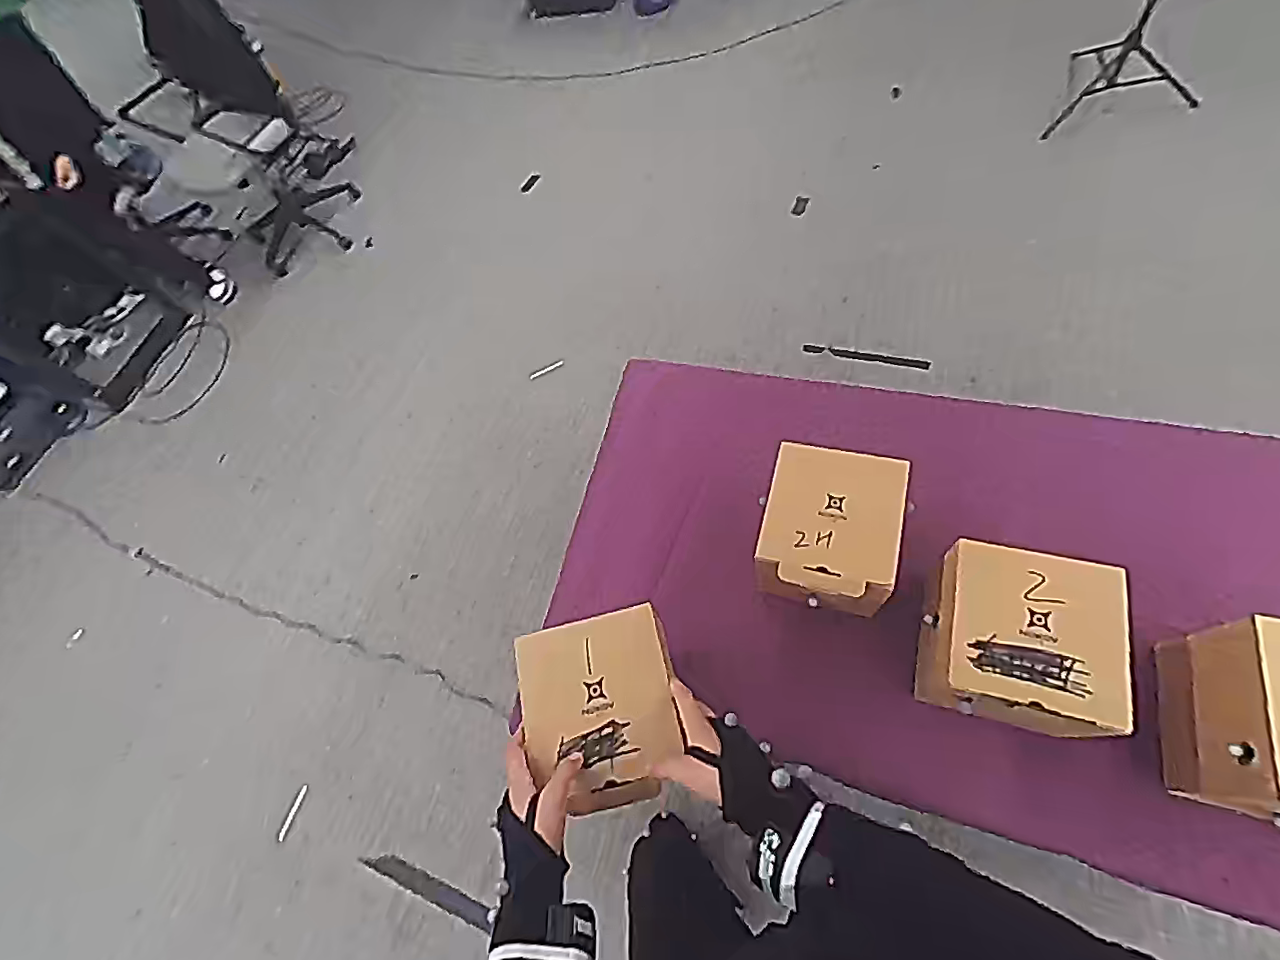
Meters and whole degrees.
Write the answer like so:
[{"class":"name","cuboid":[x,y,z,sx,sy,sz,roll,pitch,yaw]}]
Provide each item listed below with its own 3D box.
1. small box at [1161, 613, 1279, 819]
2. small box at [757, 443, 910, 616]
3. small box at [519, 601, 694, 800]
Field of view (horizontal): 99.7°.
[{"class":"small box","cuboid":[0.697,0.259,0.565,0.168,0.176,0.179,9,67,18]},{"class":"small box","cuboid":[0.265,0.073,0.761,0.168,0.176,0.179,11,68,19]},{"class":"small box","cuboid":[-0.034,0.266,0.662,0.168,0.176,0.179,-14,64,1]}]
